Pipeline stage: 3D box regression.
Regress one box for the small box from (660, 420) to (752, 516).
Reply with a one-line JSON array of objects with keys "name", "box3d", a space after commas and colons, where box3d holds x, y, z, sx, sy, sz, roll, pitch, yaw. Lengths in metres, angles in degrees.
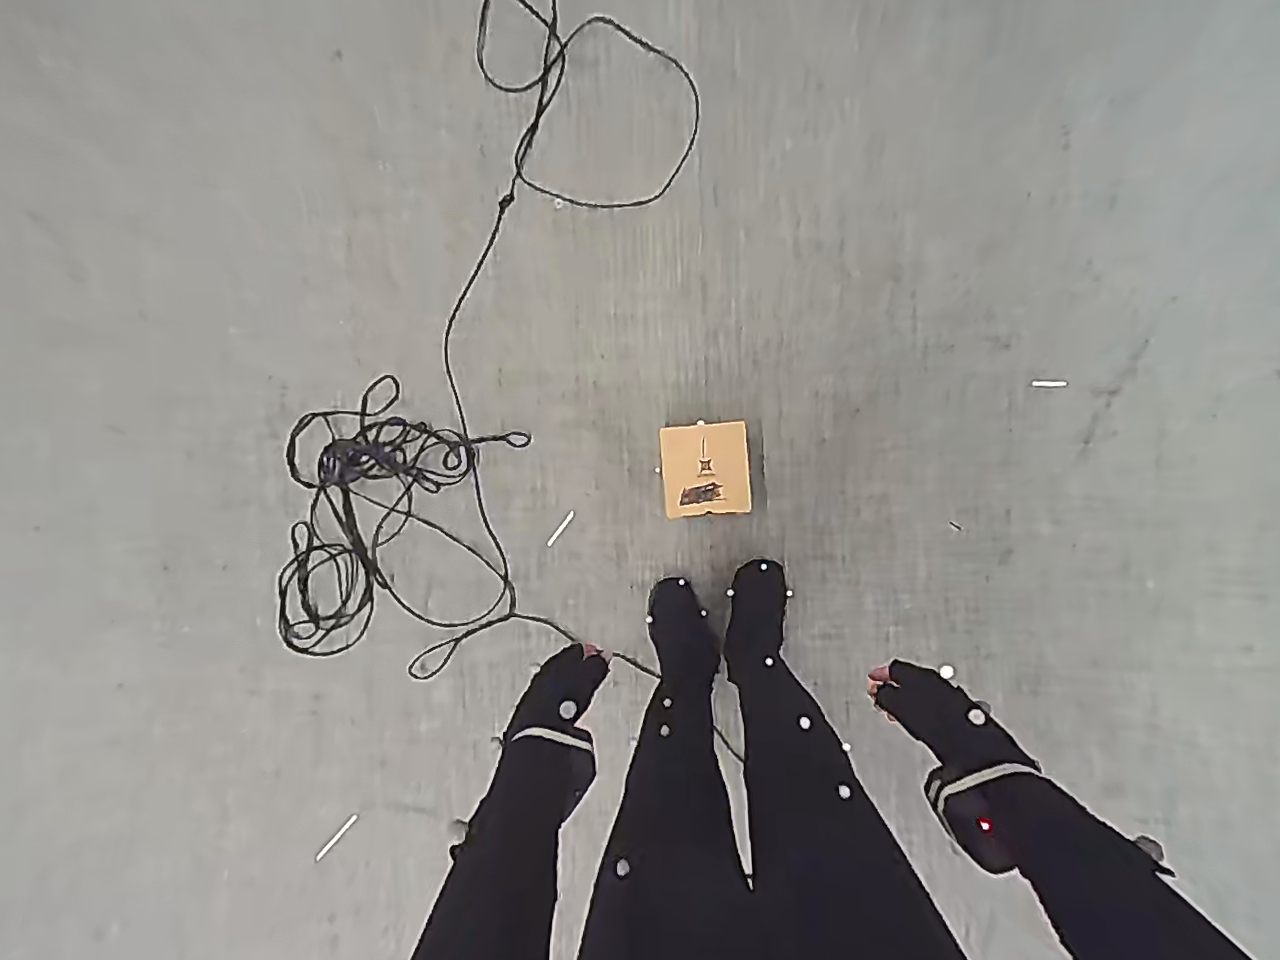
[{"name": "small box", "box3d": [0.131, -0.025, 1.102, 0.168, 0.176, 0.179, -4, 91, 3]}]
